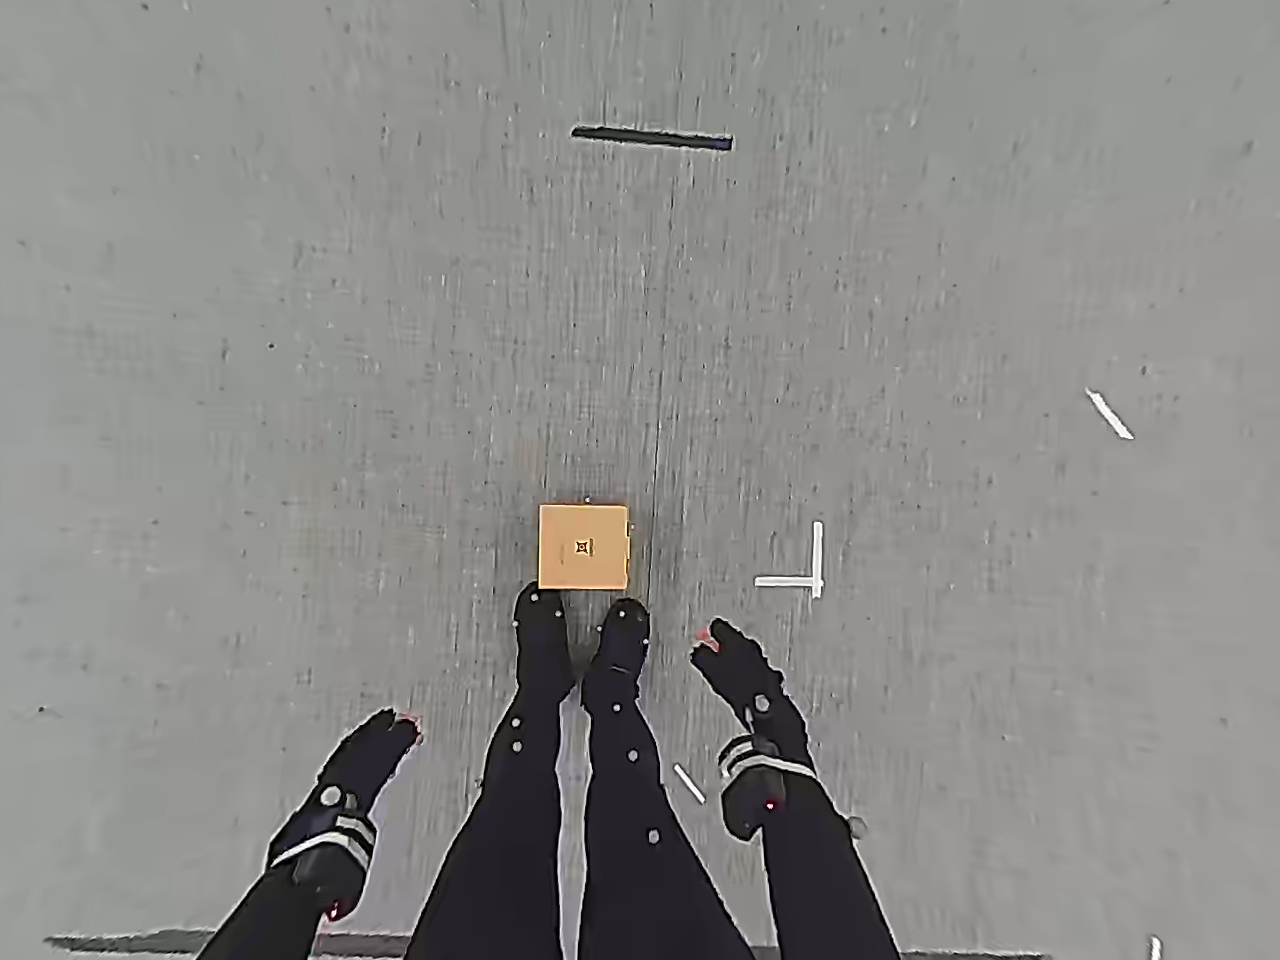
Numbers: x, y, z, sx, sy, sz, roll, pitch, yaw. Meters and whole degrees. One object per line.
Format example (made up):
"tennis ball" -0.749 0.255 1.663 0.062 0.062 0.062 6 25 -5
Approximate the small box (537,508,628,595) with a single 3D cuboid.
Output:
"small box" -0.117 0.144 1.136 0.179 0.176 0.168 1 88 -3
